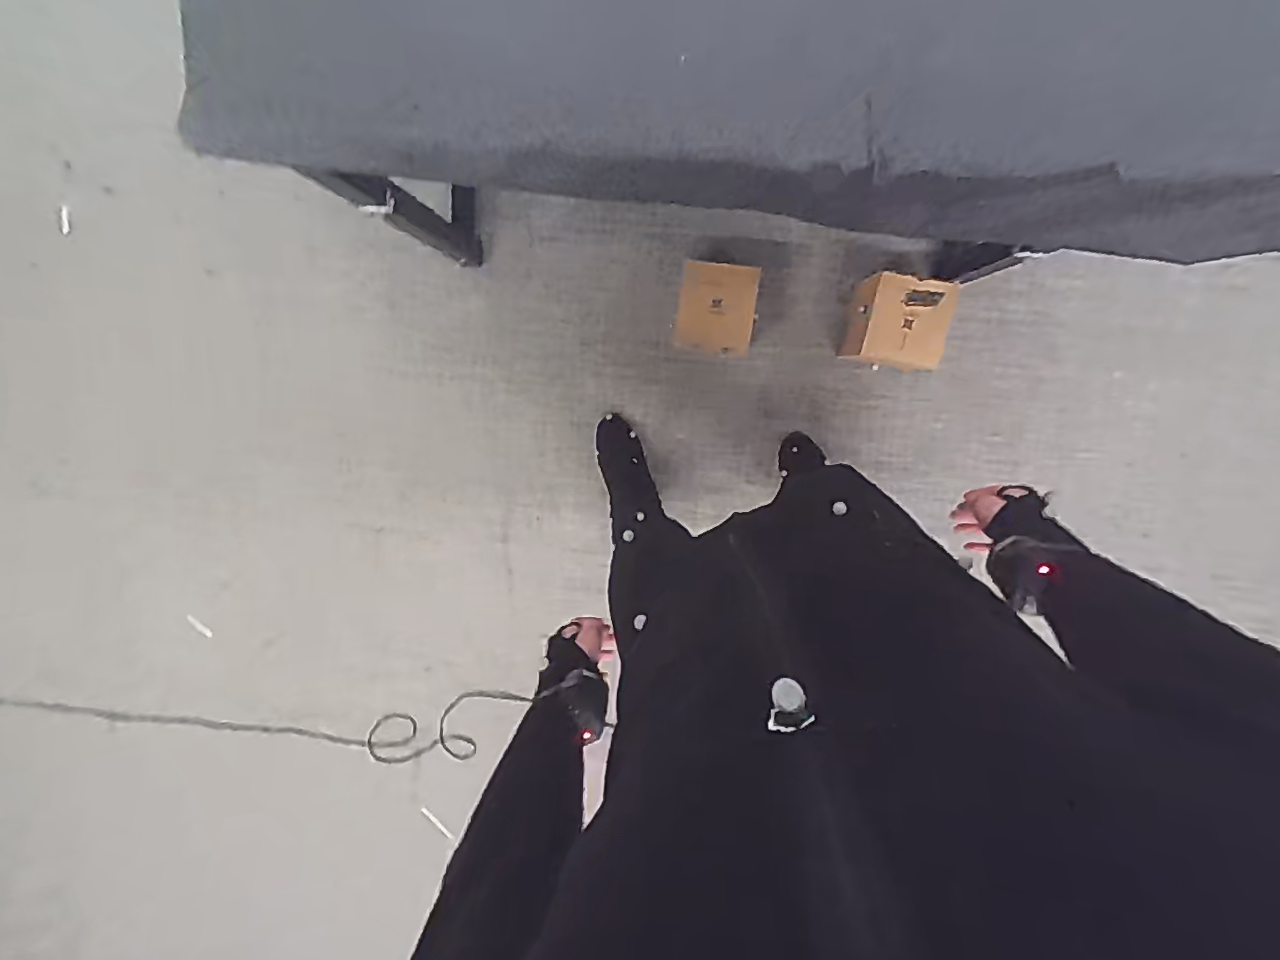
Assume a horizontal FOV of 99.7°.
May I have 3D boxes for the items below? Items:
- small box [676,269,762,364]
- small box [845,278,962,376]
[{"bbox_3d":[0.173,-0.364,1.235,0.168,0.176,0.179,6,98,2],"label":"small box"},{"bbox_3d":[0.574,-0.332,1.203,0.168,0.176,0.179,10,101,3],"label":"small box"}]
